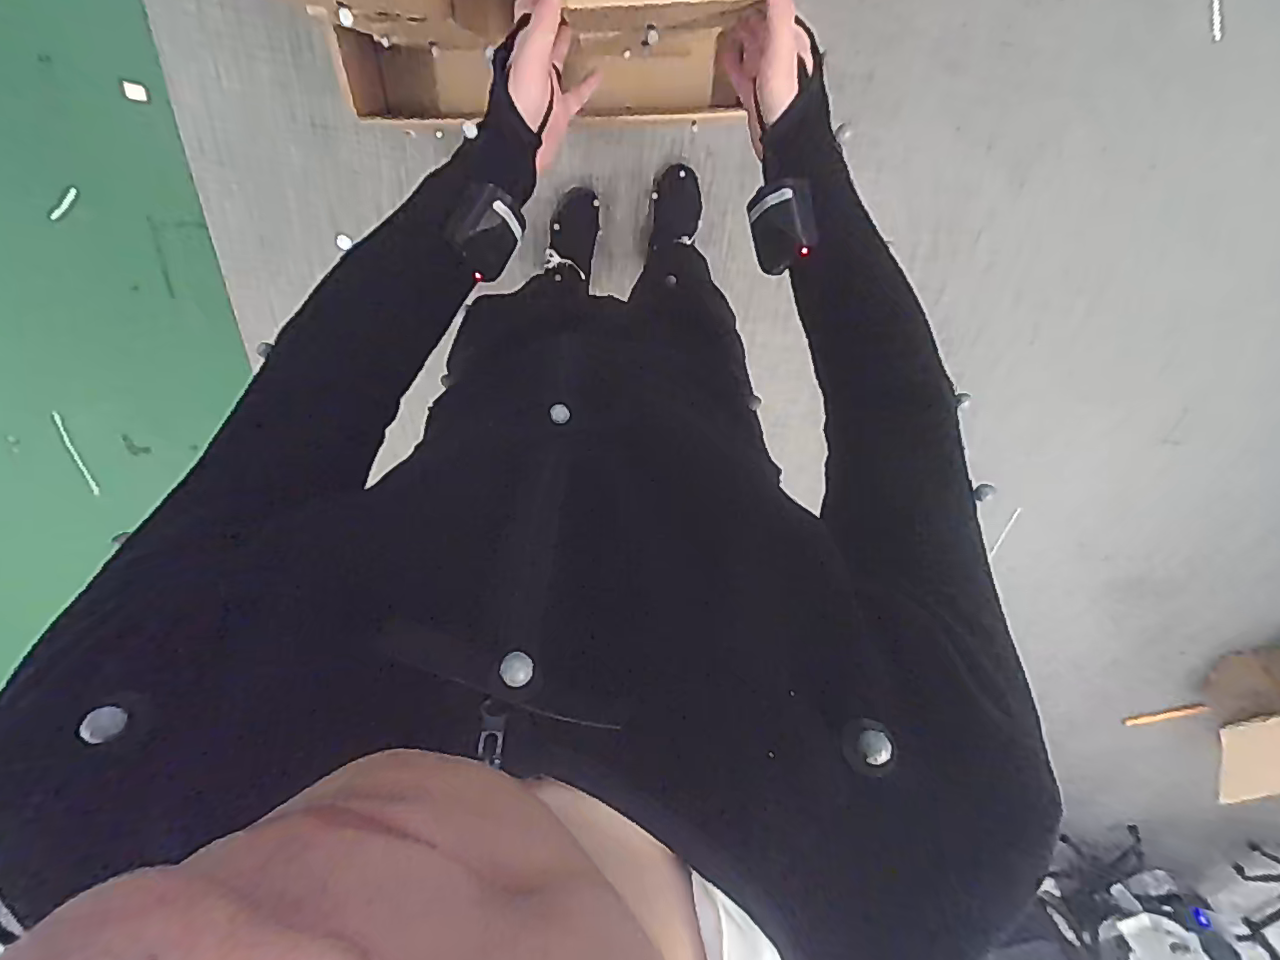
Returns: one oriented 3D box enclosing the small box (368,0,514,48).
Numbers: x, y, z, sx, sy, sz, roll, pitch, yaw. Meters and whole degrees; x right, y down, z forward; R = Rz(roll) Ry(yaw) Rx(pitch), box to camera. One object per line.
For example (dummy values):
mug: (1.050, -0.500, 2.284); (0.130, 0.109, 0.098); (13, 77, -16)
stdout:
small box: (-0.277, -0.705, 0.735); (0.168, 0.176, 0.179); (0, 123, 1)

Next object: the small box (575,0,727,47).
small box: (0.009, -0.604, 0.606); (0.168, 0.176, 0.179); (-3, 124, 1)

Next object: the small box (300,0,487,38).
small box: (-0.274, -0.615, 0.598); (0.168, 0.176, 0.179); (3, 123, -2)

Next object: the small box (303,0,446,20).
small box: (-0.277, -0.527, 0.460); (0.168, 0.176, 0.179); (4, 123, -3)
